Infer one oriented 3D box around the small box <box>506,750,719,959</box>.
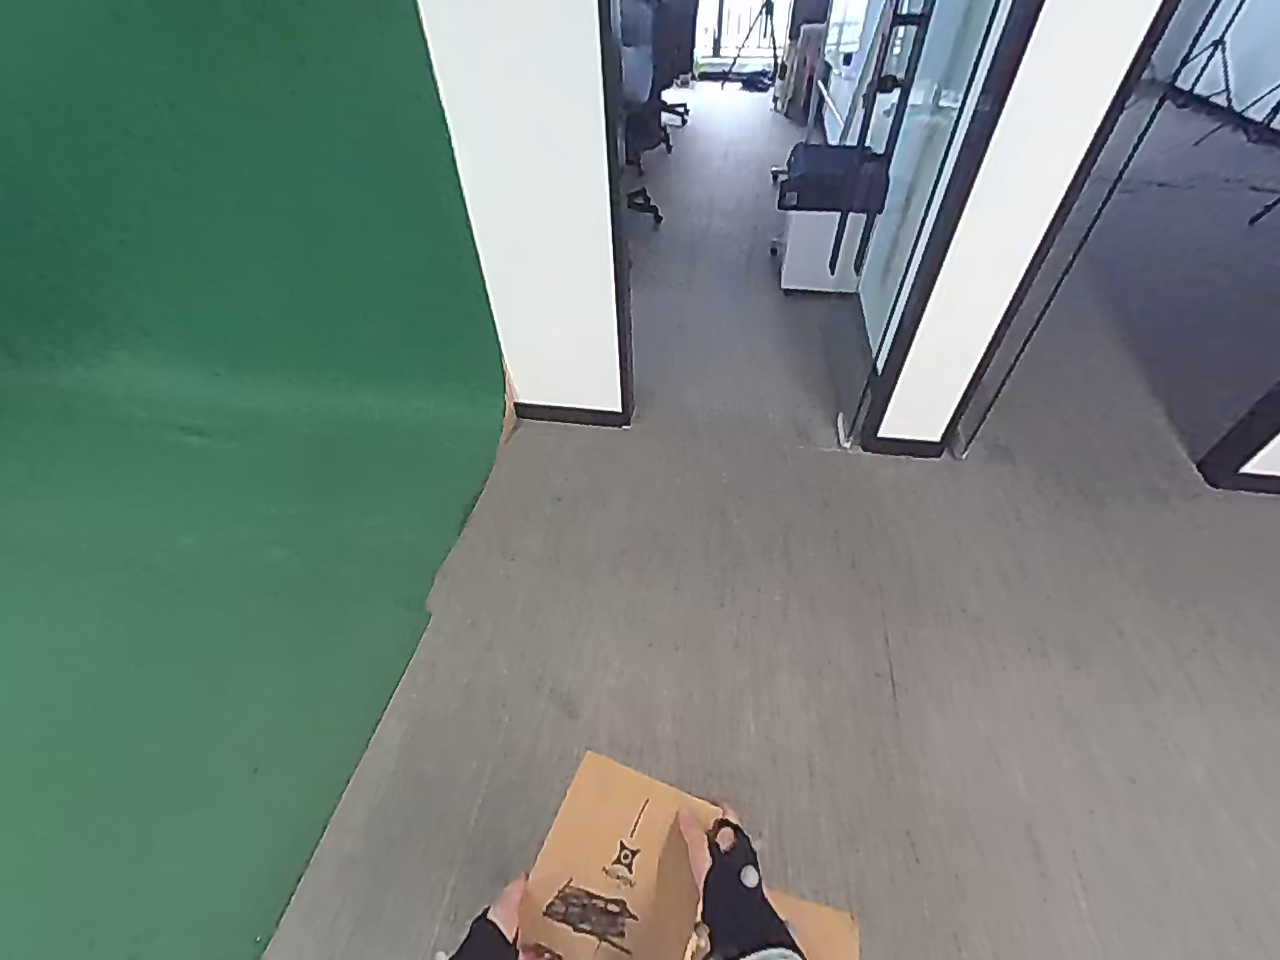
[{"bbox_3d":[-0.019,0.446,0.600,0.168,0.176,0.179,15,46,17],"label":"small box"}]
